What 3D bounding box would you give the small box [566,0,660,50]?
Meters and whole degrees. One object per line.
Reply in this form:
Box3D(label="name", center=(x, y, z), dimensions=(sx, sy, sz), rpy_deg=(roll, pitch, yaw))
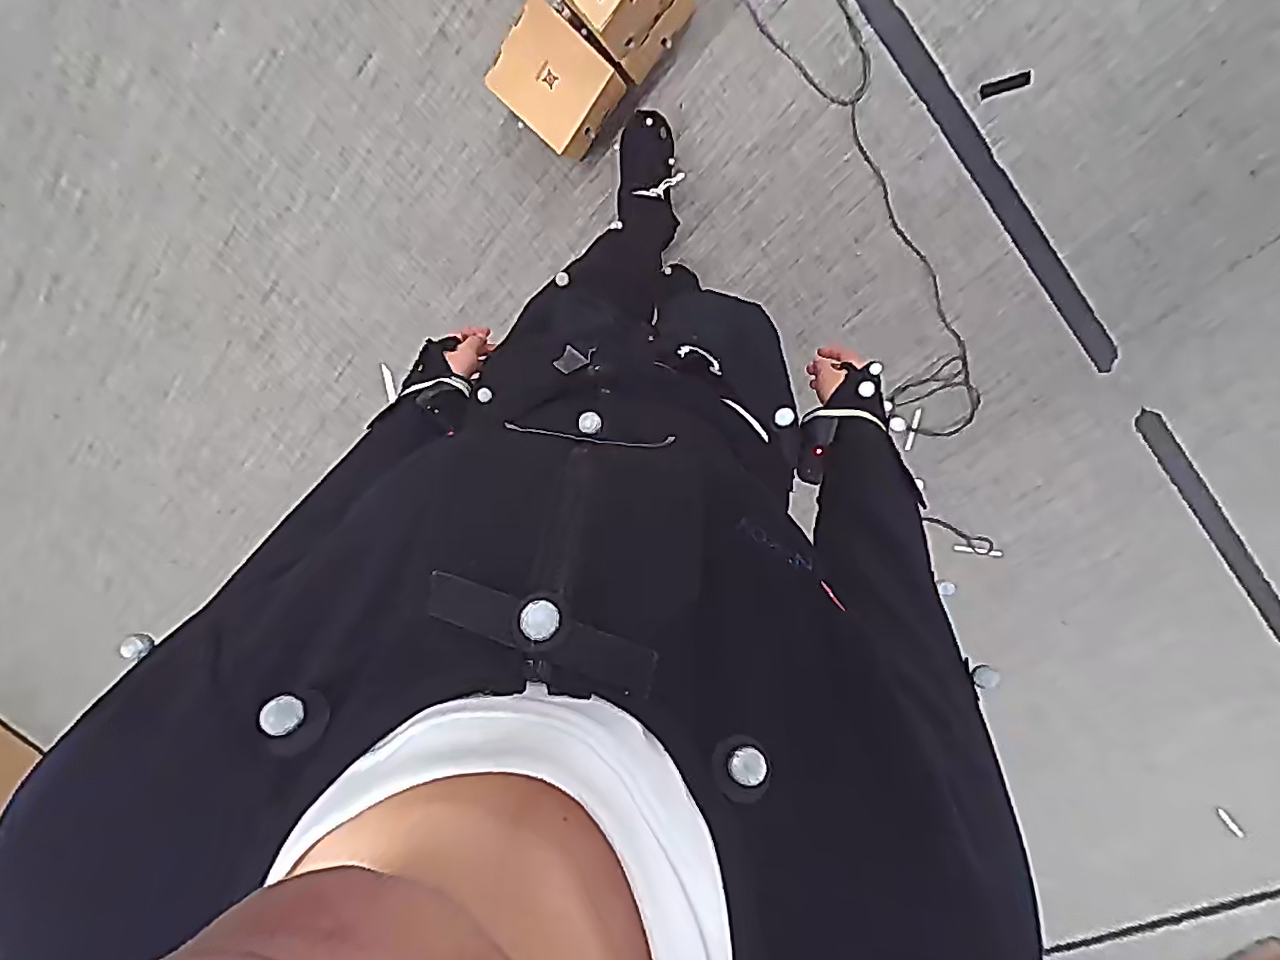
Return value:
Box3D(label="small box", center=(-0.052, -0.771, 0.781), dimensions=(0.168, 0.176, 0.179), rpy_deg=(-40, 104, 22))
